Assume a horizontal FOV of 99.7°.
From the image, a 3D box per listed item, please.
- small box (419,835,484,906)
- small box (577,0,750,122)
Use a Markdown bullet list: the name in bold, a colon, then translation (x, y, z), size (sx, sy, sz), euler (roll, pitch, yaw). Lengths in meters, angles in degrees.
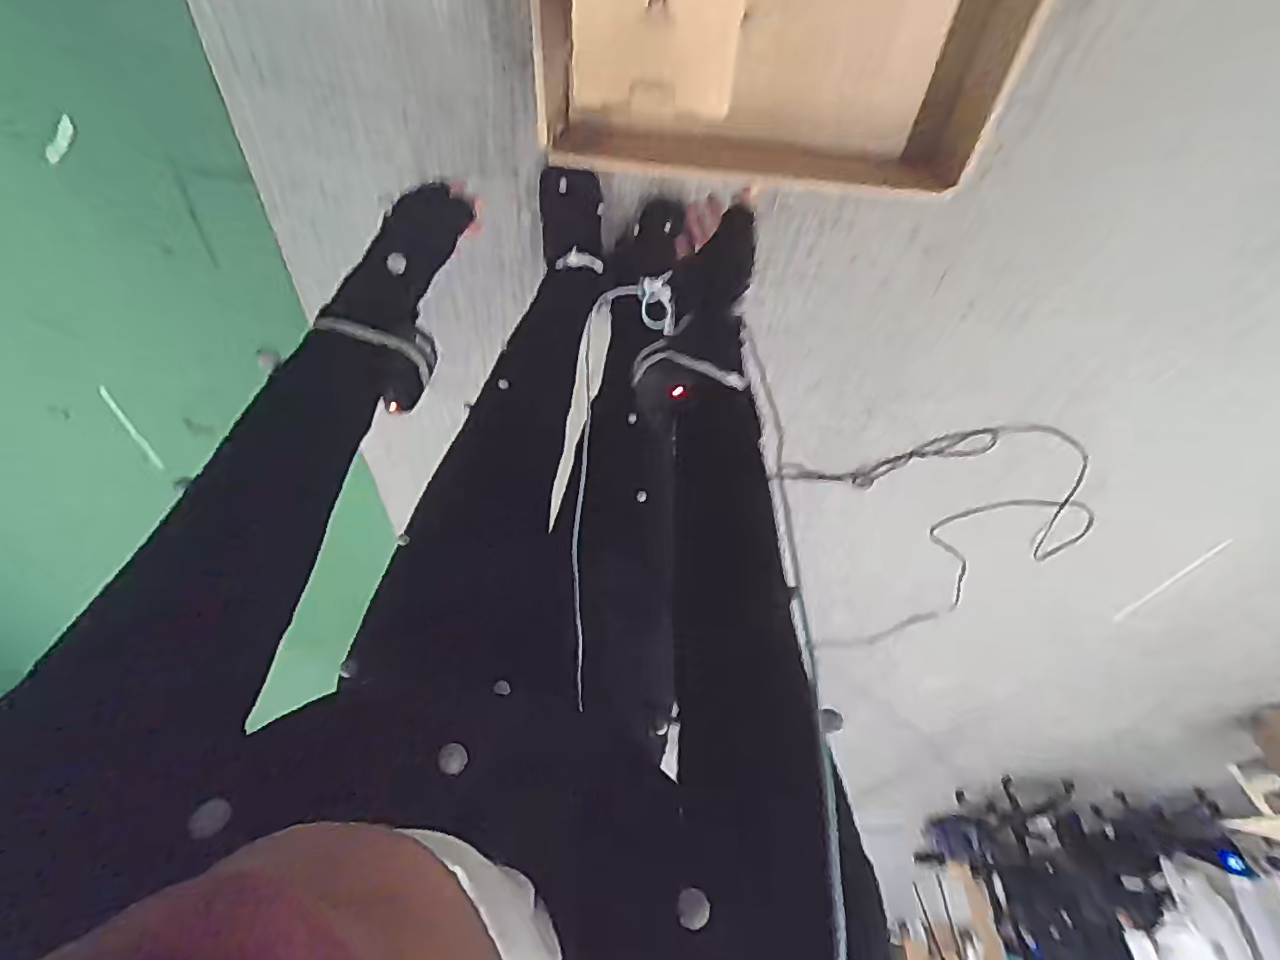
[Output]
- **small box**: translation (-0.637, 1.333, 1.847), size (0.168, 0.176, 0.179), euler (12, 136, -4)
- **small box**: translation (0.025, -0.506, 0.568), size (0.168, 0.176, 0.179), euler (5, 136, -1)
